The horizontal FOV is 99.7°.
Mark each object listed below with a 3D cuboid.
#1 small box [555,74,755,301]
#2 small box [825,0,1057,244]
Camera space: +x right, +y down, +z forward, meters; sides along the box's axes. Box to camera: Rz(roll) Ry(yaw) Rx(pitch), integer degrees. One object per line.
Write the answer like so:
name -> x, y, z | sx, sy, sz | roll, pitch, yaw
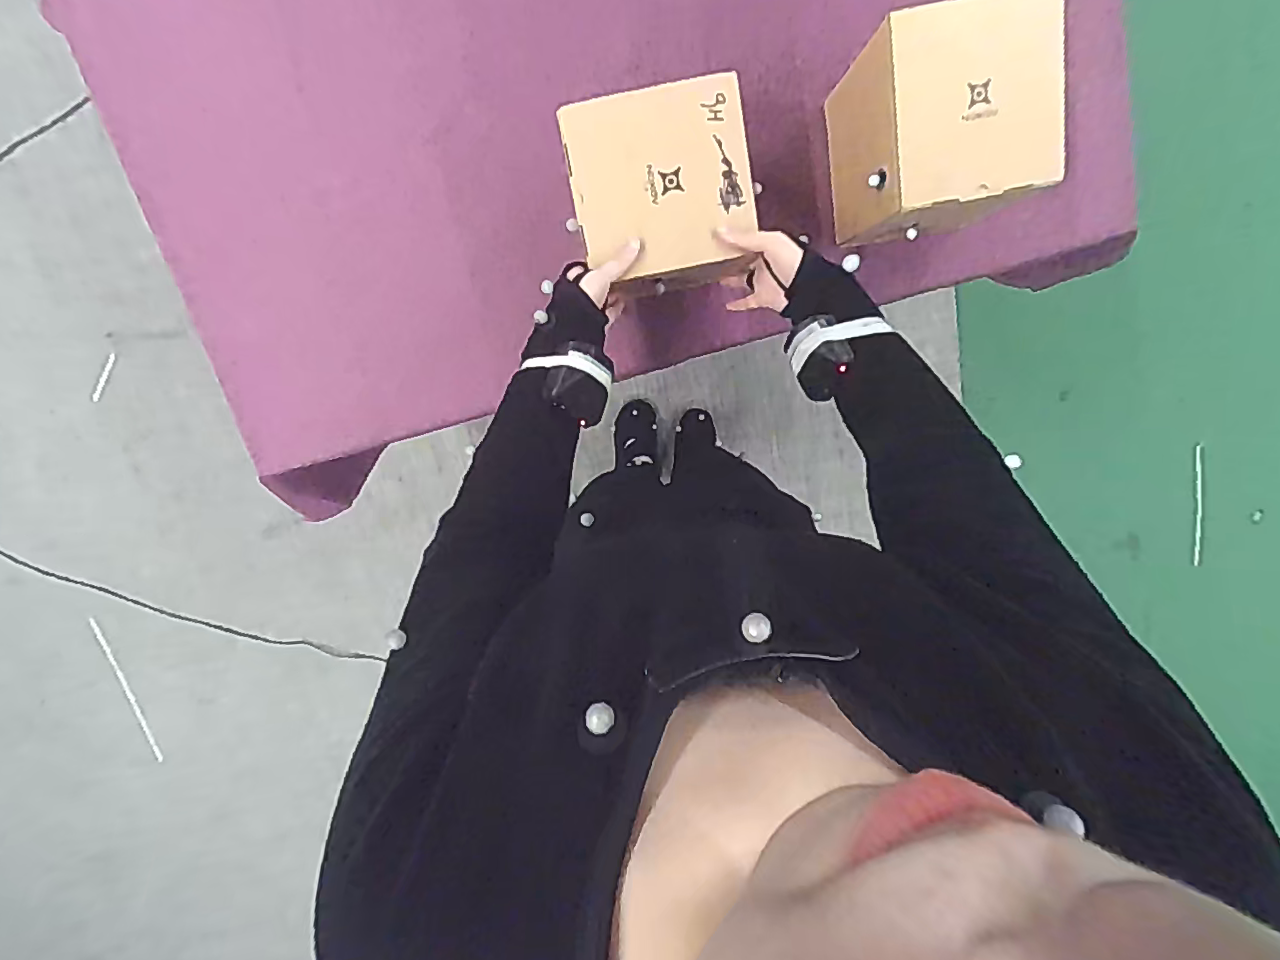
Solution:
small box -> 0.017, -0.308, 0.608 | 0.179, 0.176, 0.168 | -11, 102, 1
small box -> 0.319, -0.384, 0.602 | 0.168, 0.176, 0.179 | -10, 102, 1
